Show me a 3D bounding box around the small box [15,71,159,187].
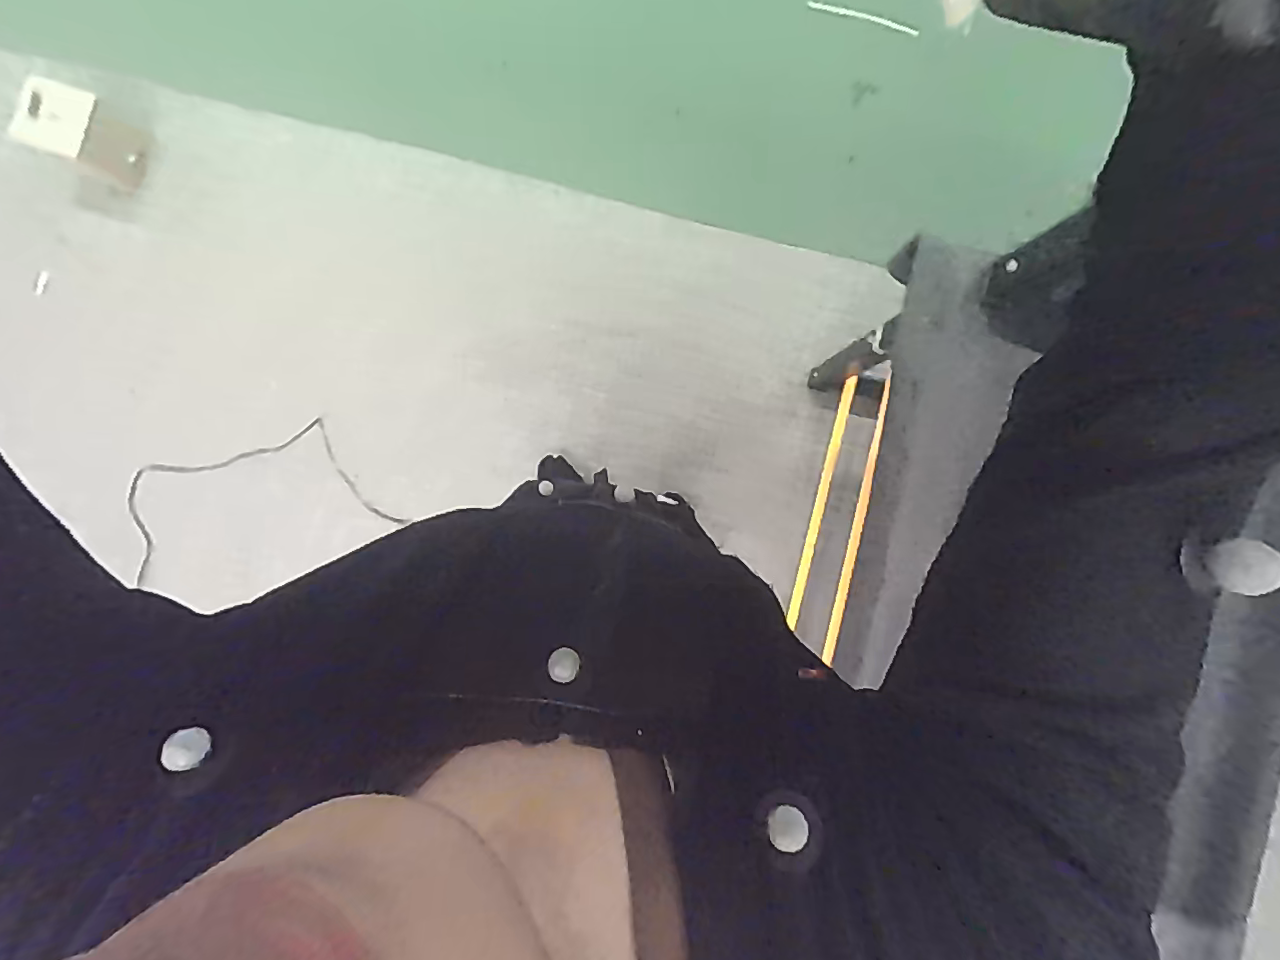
[{"bbox_3d":[-1.424,-0.898,1.403,0.179,0.176,0.168,18,90,-1],"label":"small box"}]
